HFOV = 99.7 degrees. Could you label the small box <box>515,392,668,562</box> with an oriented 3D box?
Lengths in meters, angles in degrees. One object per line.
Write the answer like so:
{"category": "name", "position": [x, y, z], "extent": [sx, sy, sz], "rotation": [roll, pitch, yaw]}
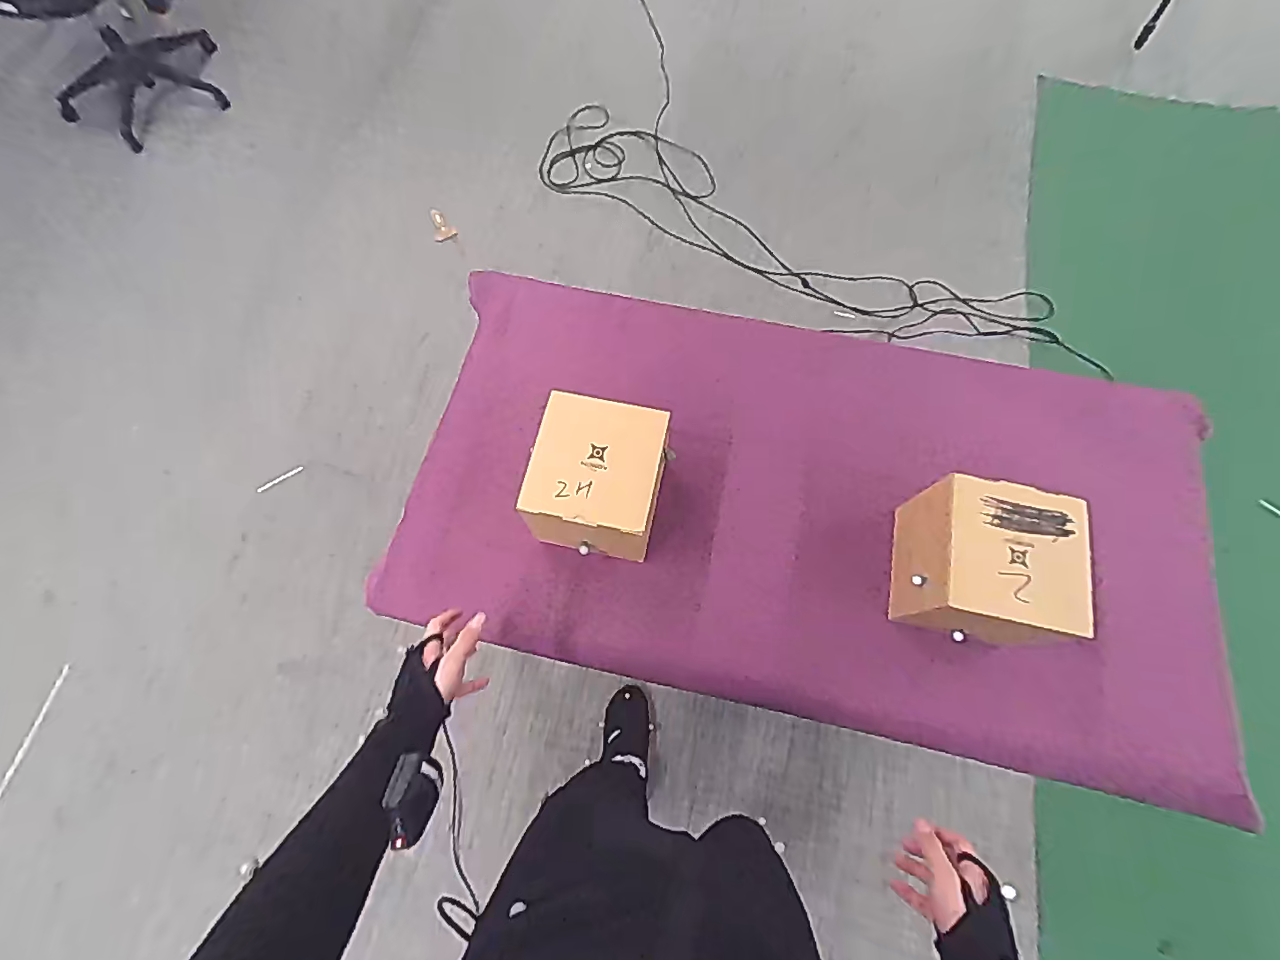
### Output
{"category": "small box", "position": [-0.061, 0.003, 0.776], "extent": [0.168, 0.176, 0.179], "rotation": [11, 70, 5]}
